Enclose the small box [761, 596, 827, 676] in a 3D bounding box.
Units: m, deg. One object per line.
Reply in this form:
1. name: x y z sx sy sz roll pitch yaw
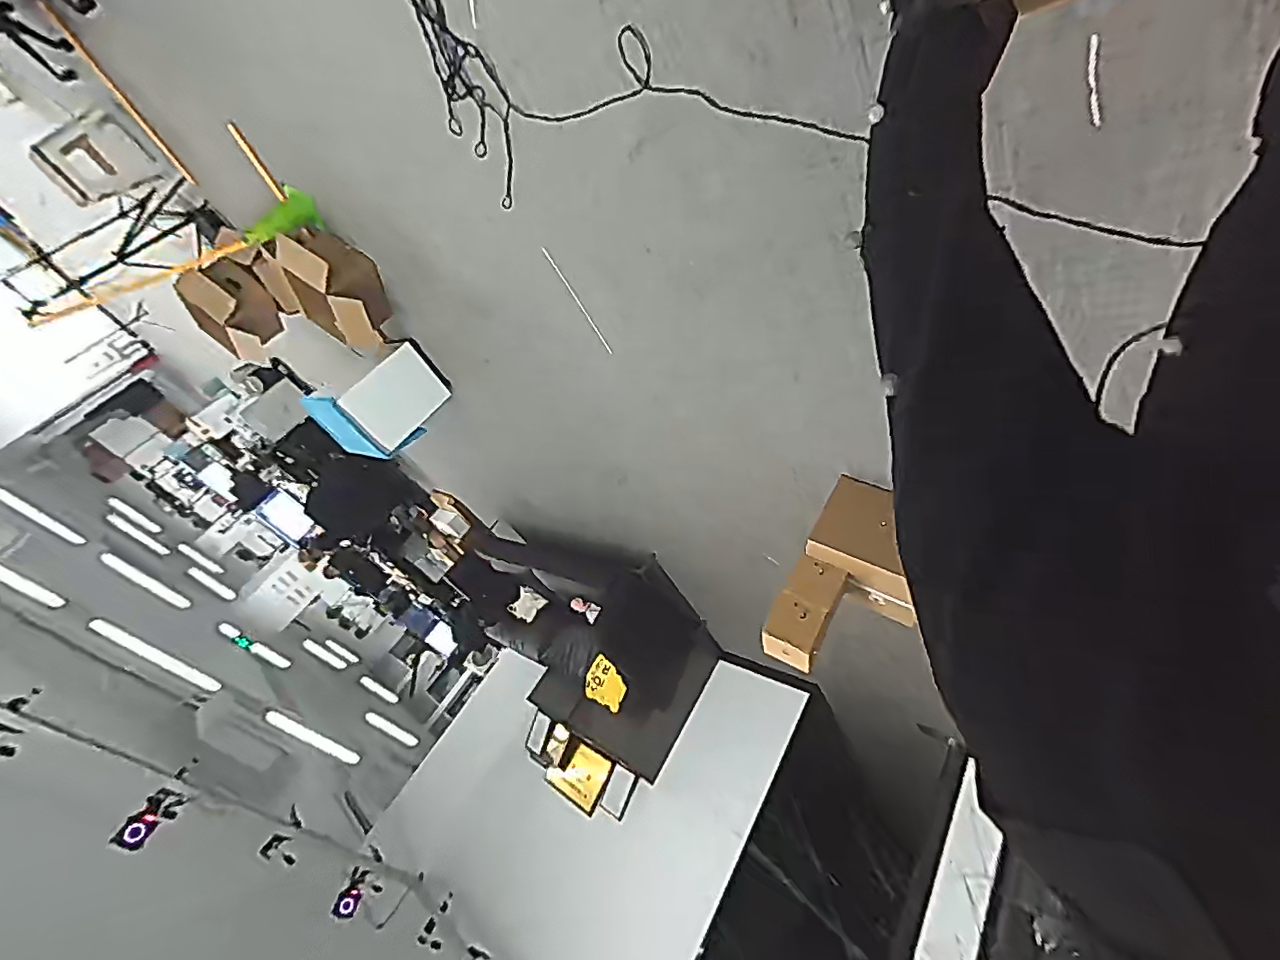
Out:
1. small box: 0.526 0.526 1.835 0.168 0.176 0.179 20 149 30
